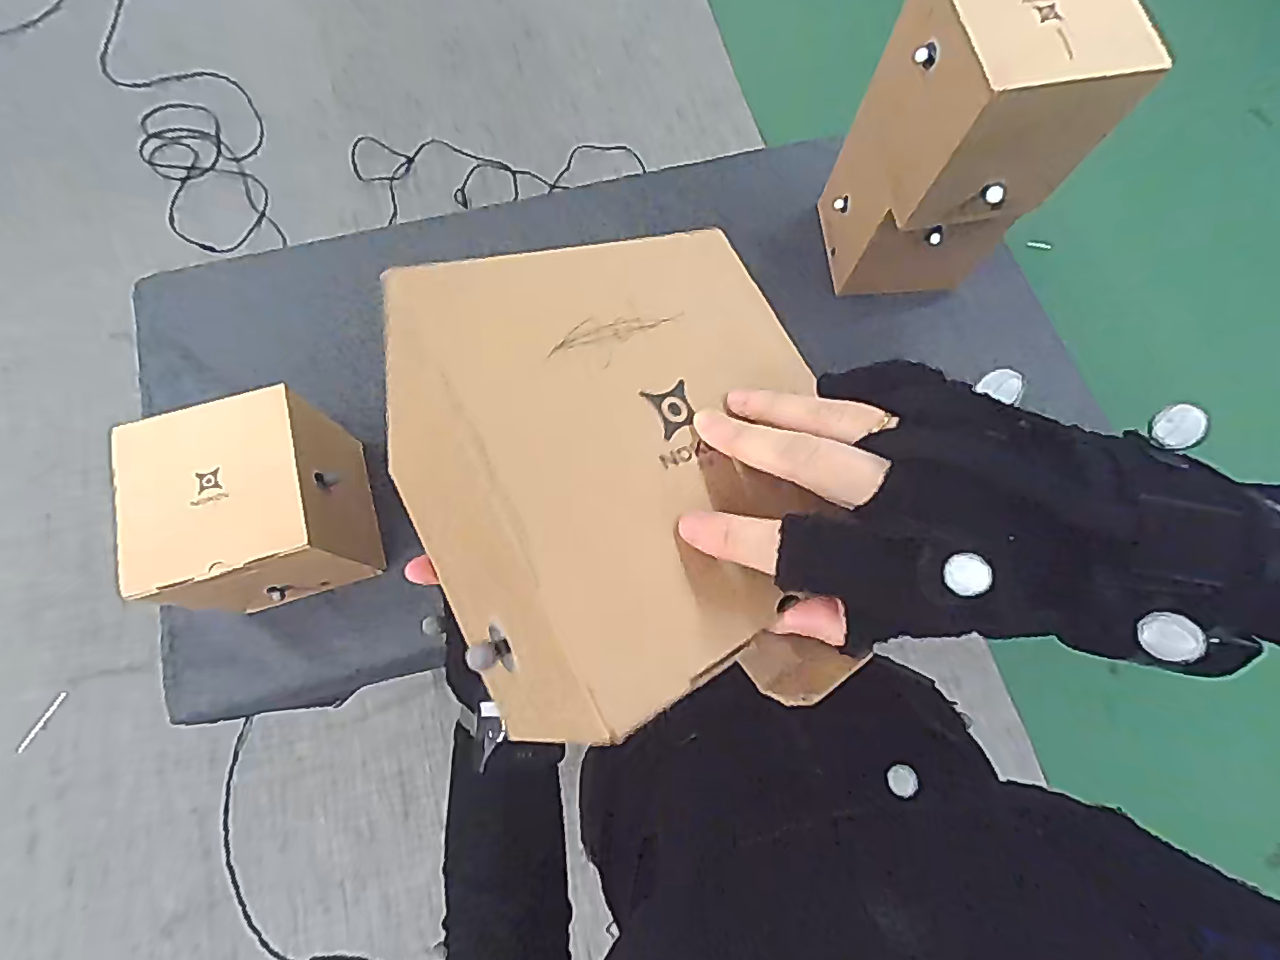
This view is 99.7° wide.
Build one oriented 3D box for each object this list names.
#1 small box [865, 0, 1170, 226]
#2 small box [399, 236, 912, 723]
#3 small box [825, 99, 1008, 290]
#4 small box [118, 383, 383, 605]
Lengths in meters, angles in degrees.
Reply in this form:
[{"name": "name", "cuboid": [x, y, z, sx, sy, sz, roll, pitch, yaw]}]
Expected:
[{"name": "small box", "cuboid": [0.358, -0.398, 0.555, 0.168, 0.176, 0.179, -10, 75, -3]}, {"name": "small box", "cuboid": [-0.013, 0.005, 0.281, 0.168, 0.176, 0.179, -18, 73, -32]}, {"name": "small box", "cuboid": [0.360, -0.371, 0.718, 0.179, 0.176, 0.168, -3, 74, -2]}, {"name": "small box", "cuboid": [-0.406, 0.025, 0.587, 0.168, 0.176, 0.179, -17, 75, -7]}]
